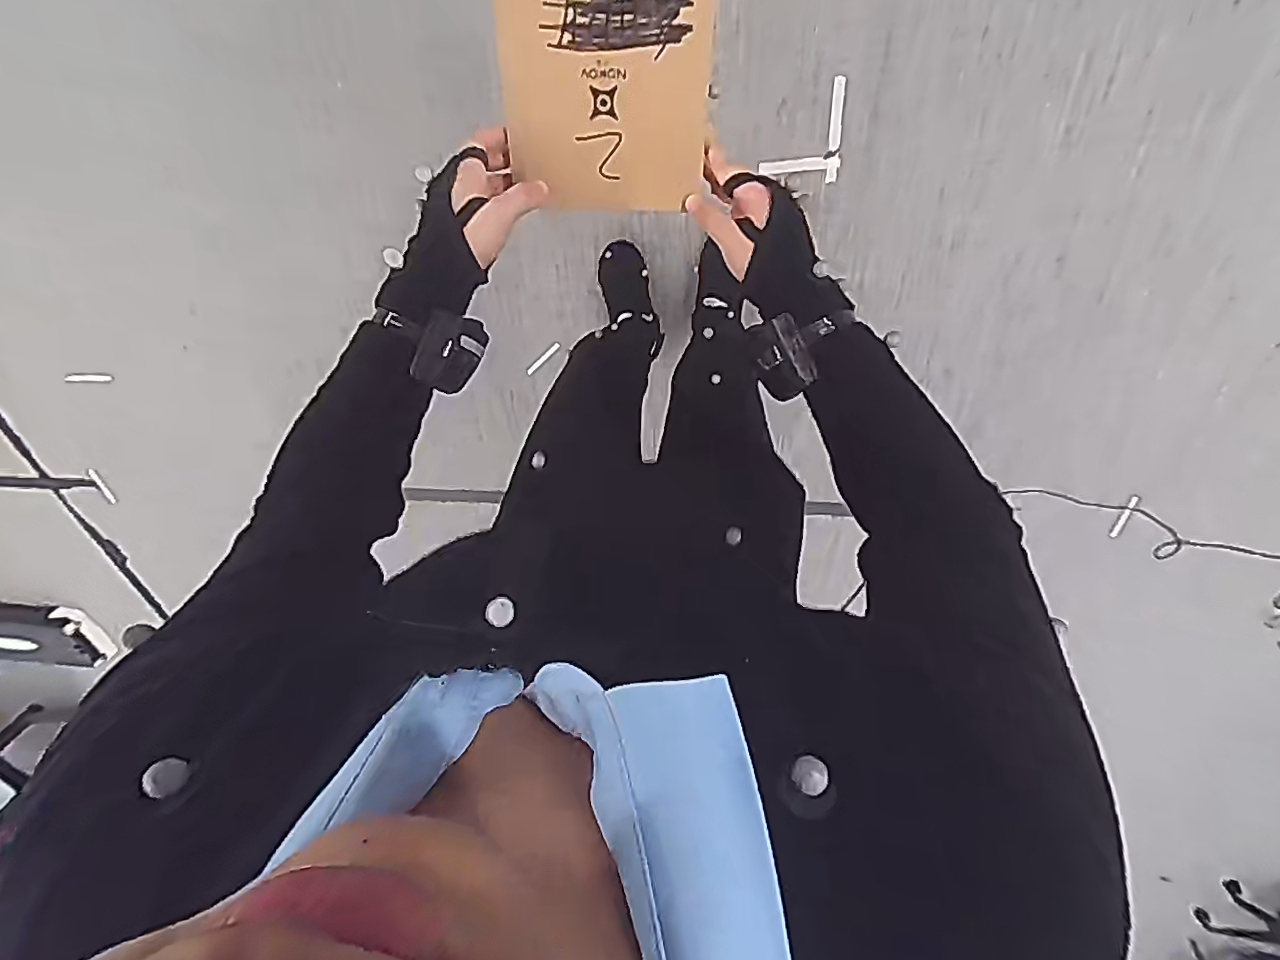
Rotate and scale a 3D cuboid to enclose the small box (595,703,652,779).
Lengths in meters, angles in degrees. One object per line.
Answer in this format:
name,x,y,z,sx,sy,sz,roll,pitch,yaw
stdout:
small box,-0.051,0.894,1.857,0.168,0.176,0.179,-1,124,7
